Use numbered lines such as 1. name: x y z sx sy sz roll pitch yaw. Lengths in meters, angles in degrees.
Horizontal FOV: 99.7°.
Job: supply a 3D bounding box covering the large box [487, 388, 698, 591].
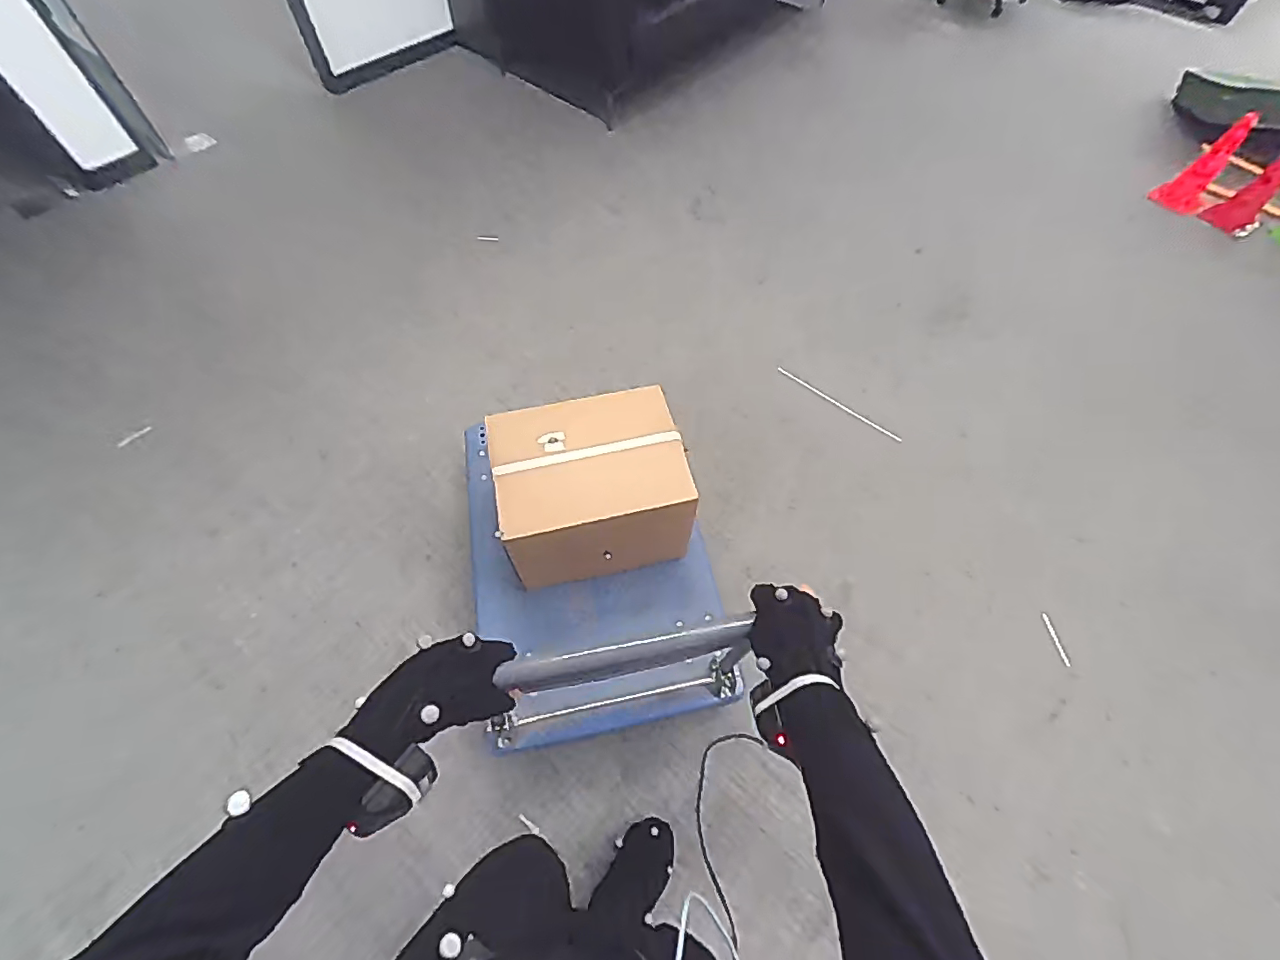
1. large box: -0.111 0.030 1.279 0.408 0.320 0.320 -12 60 -8
